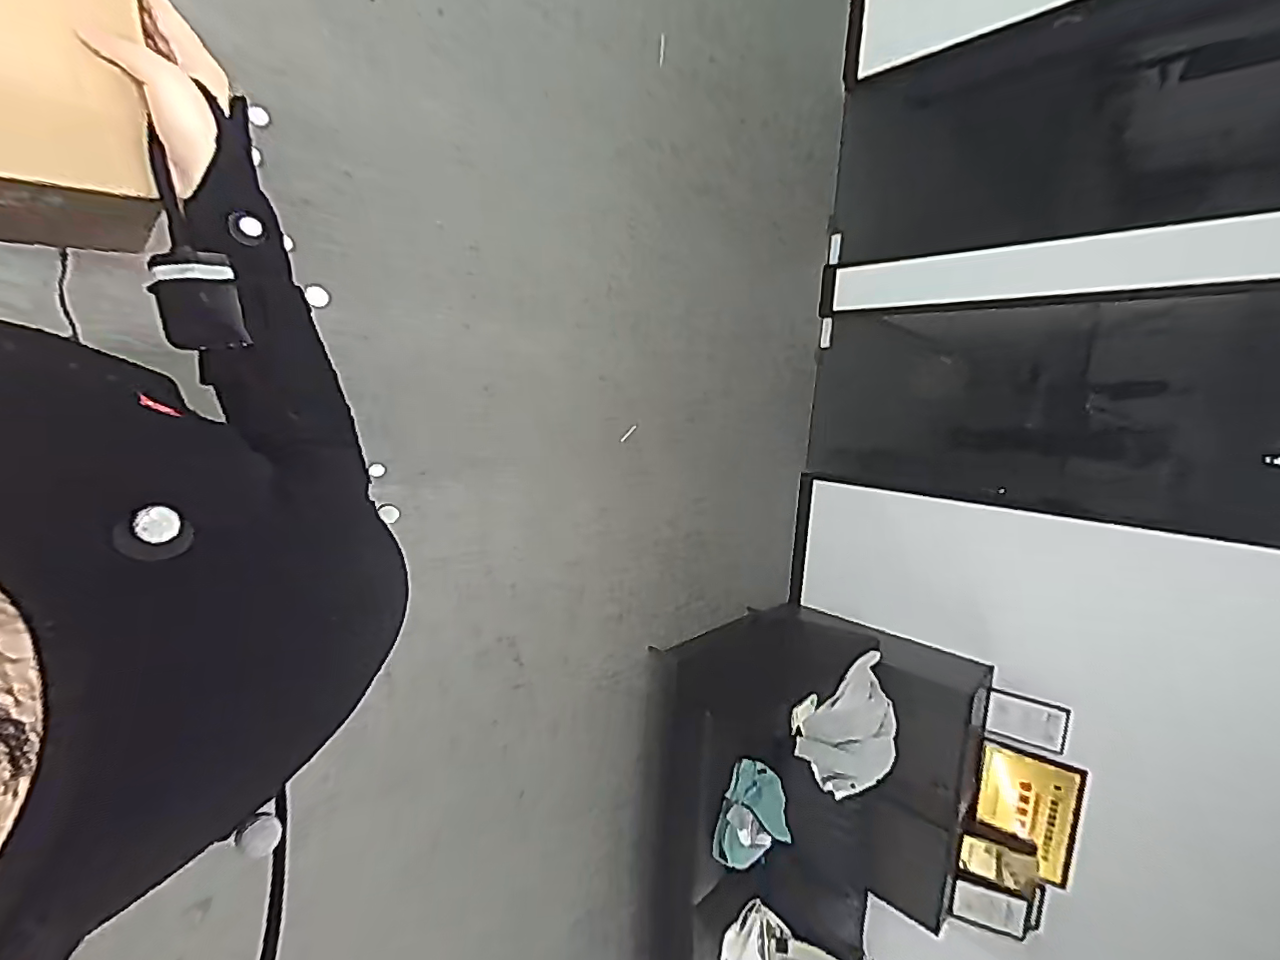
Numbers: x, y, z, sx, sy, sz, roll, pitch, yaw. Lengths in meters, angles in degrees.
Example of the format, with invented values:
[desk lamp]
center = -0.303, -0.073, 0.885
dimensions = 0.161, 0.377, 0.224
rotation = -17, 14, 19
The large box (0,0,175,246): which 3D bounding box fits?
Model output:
[large box]
center = -0.580, -0.342, 0.316
dimensions = 0.408, 0.320, 0.320
rotation = -13, 110, -45
